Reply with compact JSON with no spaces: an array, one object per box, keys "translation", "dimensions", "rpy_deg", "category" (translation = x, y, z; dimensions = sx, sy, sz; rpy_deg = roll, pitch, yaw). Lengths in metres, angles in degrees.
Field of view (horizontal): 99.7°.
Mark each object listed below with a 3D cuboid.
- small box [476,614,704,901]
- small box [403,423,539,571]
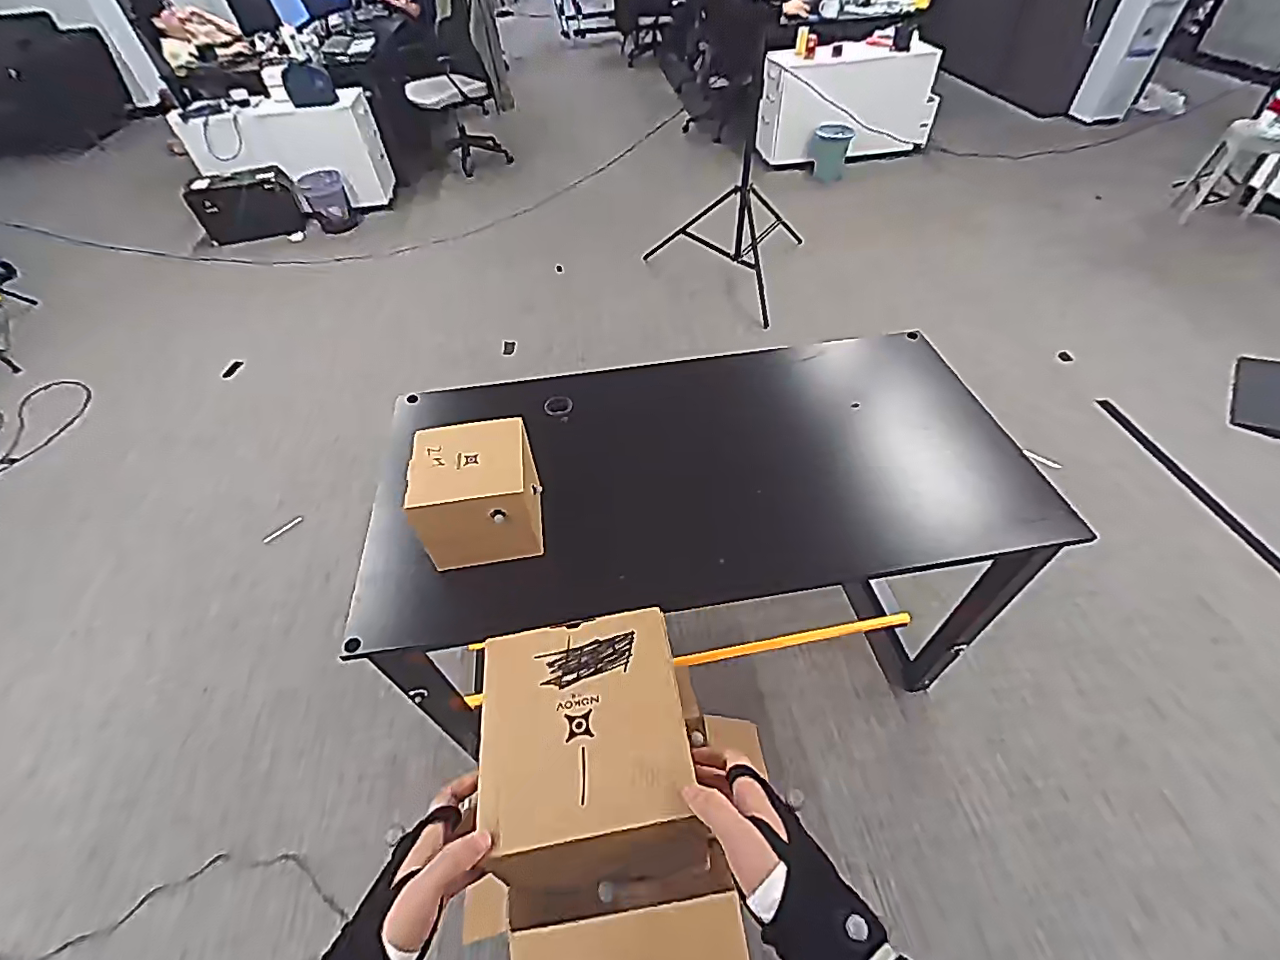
[{"translation":[-0.039,0.255,0.500],"dimensions":[0.168,0.176,0.179],"rpy_deg":[-11,44,-2],"category":"small box"},{"translation":[-0.265,0.030,0.894],"dimensions":[0.179,0.176,0.168],"rpy_deg":[-8,48,-5],"category":"small box"}]
